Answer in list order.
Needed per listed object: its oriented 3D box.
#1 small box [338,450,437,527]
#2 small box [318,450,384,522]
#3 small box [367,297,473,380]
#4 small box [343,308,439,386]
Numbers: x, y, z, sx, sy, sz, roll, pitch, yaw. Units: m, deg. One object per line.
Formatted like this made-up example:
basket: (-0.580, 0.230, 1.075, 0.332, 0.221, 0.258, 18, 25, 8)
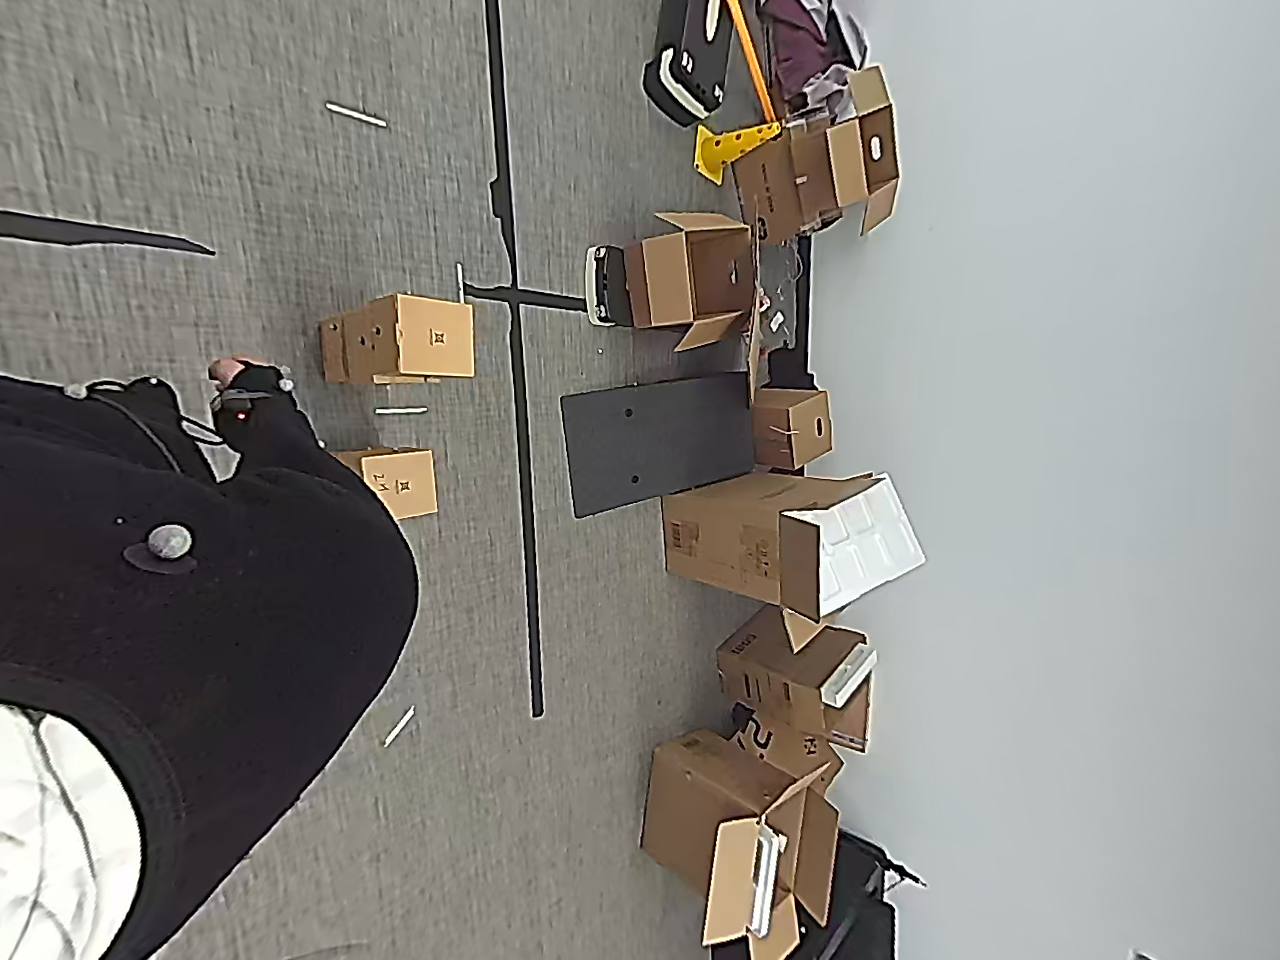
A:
small box: (-0.647, 0.013, 1.387, 0.179, 0.176, 0.168, -11, 103, -44)
small box: (-0.766, 0.008, 1.502, 0.179, 0.176, 0.168, -13, 104, -43)
small box: (-0.505, -0.318, 1.244, 0.179, 0.176, 0.168, -8, 102, -44)
small box: (-0.625, -0.325, 1.354, 0.168, 0.176, 0.179, -10, 105, -44)
